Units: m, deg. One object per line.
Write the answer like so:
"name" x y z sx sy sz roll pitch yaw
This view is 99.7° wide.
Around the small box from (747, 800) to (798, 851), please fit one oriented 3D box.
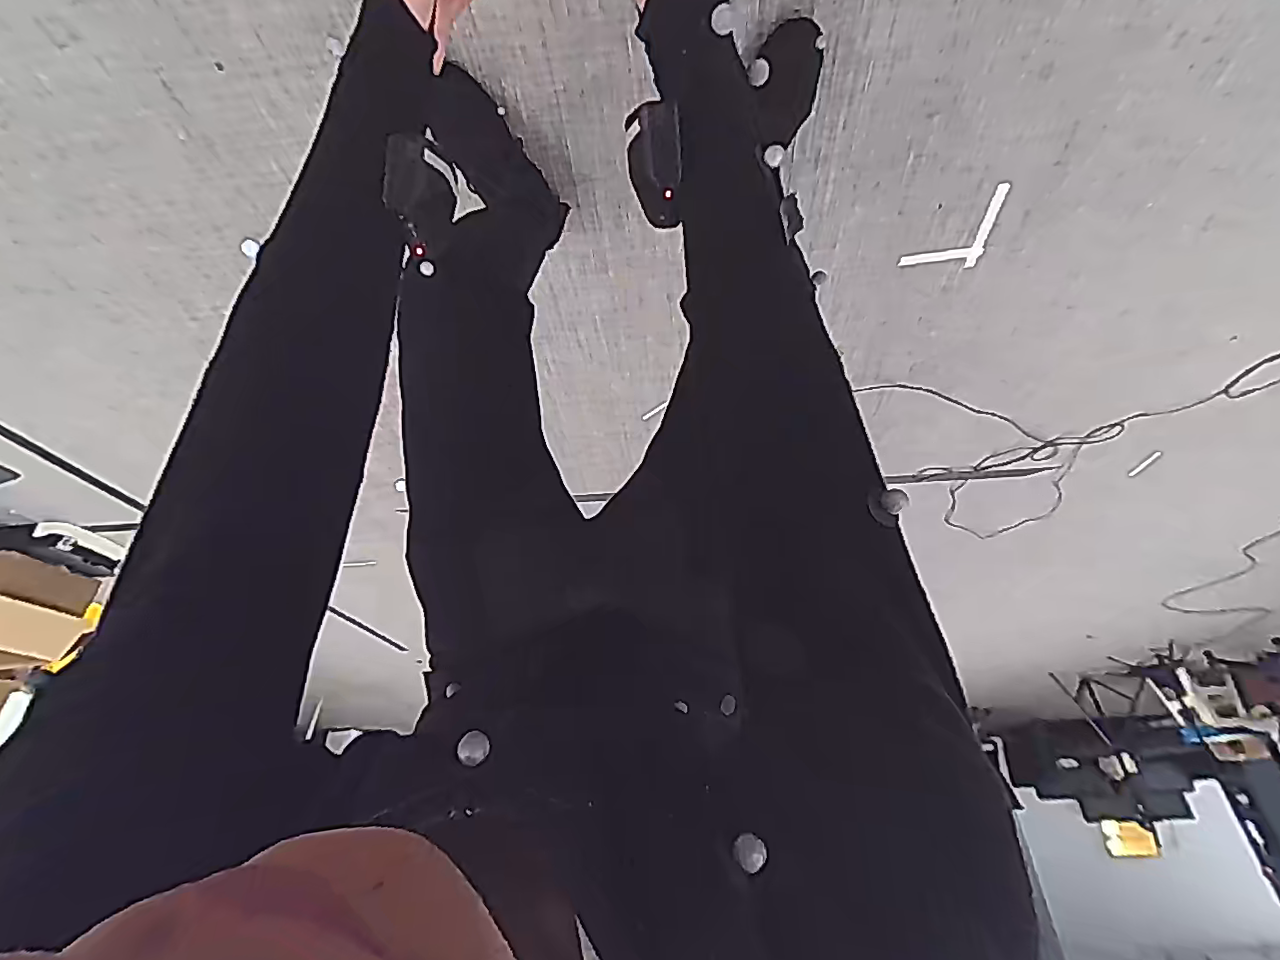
"small box" 0.542 1.421 2.233 0.179 0.176 0.168 -5 149 6
